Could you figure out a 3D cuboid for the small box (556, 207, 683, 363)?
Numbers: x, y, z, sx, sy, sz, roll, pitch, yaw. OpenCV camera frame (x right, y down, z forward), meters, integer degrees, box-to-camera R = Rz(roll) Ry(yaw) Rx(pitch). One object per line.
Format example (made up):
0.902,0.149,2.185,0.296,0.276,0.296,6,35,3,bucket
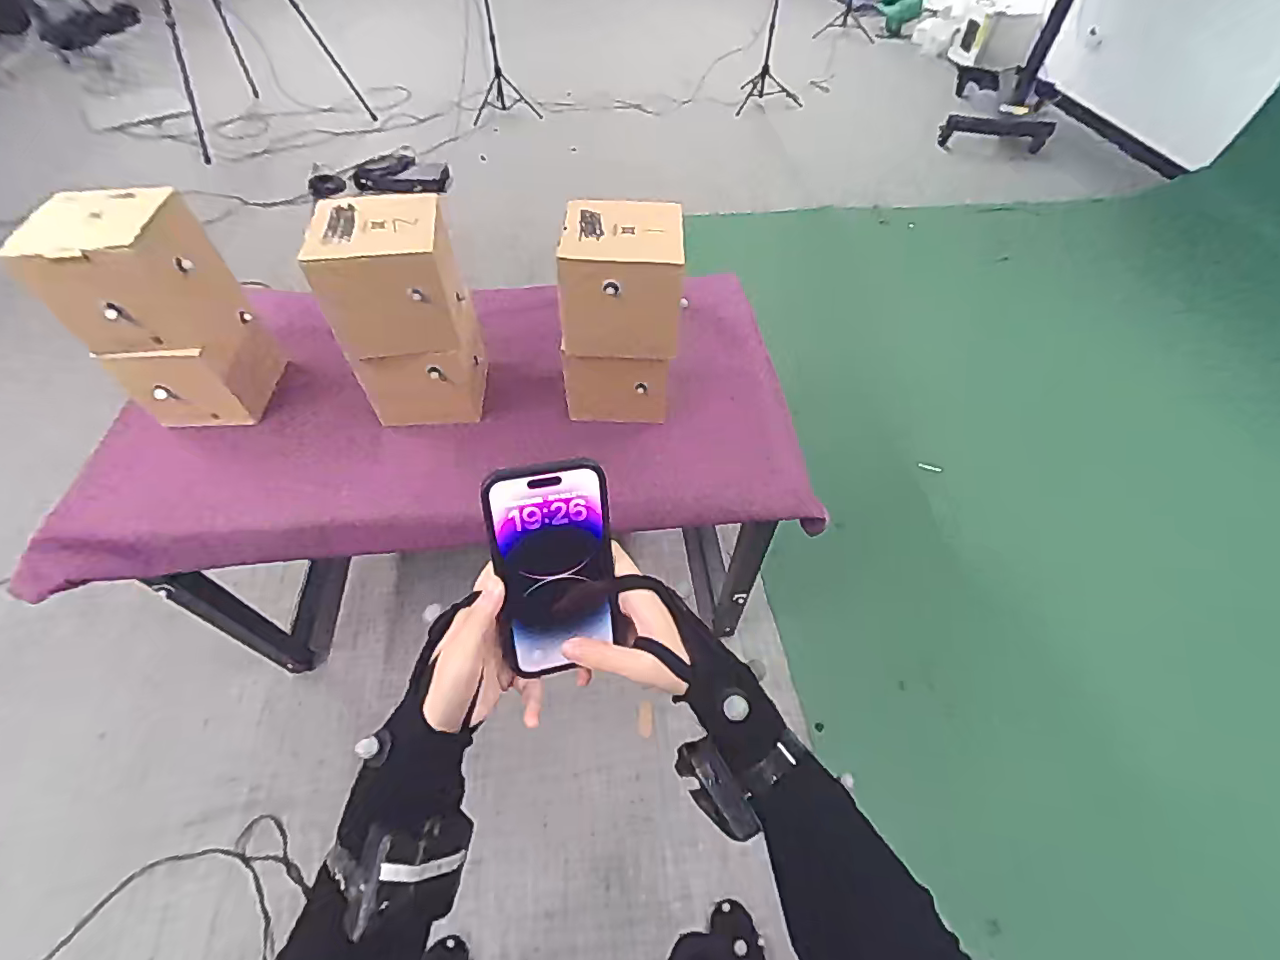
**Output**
-0.026,-0.298,0.838,0.179,0.176,0.168,3,52,0,small box

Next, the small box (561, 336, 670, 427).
-0.037,-0.211,0.977,0.179,0.176,0.168,2,52,1,small box

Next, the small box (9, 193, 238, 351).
-0.767,-0.313,0.834,0.168,0.176,0.179,-6,54,-6,small box

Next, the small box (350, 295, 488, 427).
-0.378,-0.208,0.966,0.179,0.176,0.168,-3,53,-3,small box

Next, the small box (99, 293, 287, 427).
-0.769,-0.207,0.960,0.168,0.176,0.179,-2,53,-3,small box
